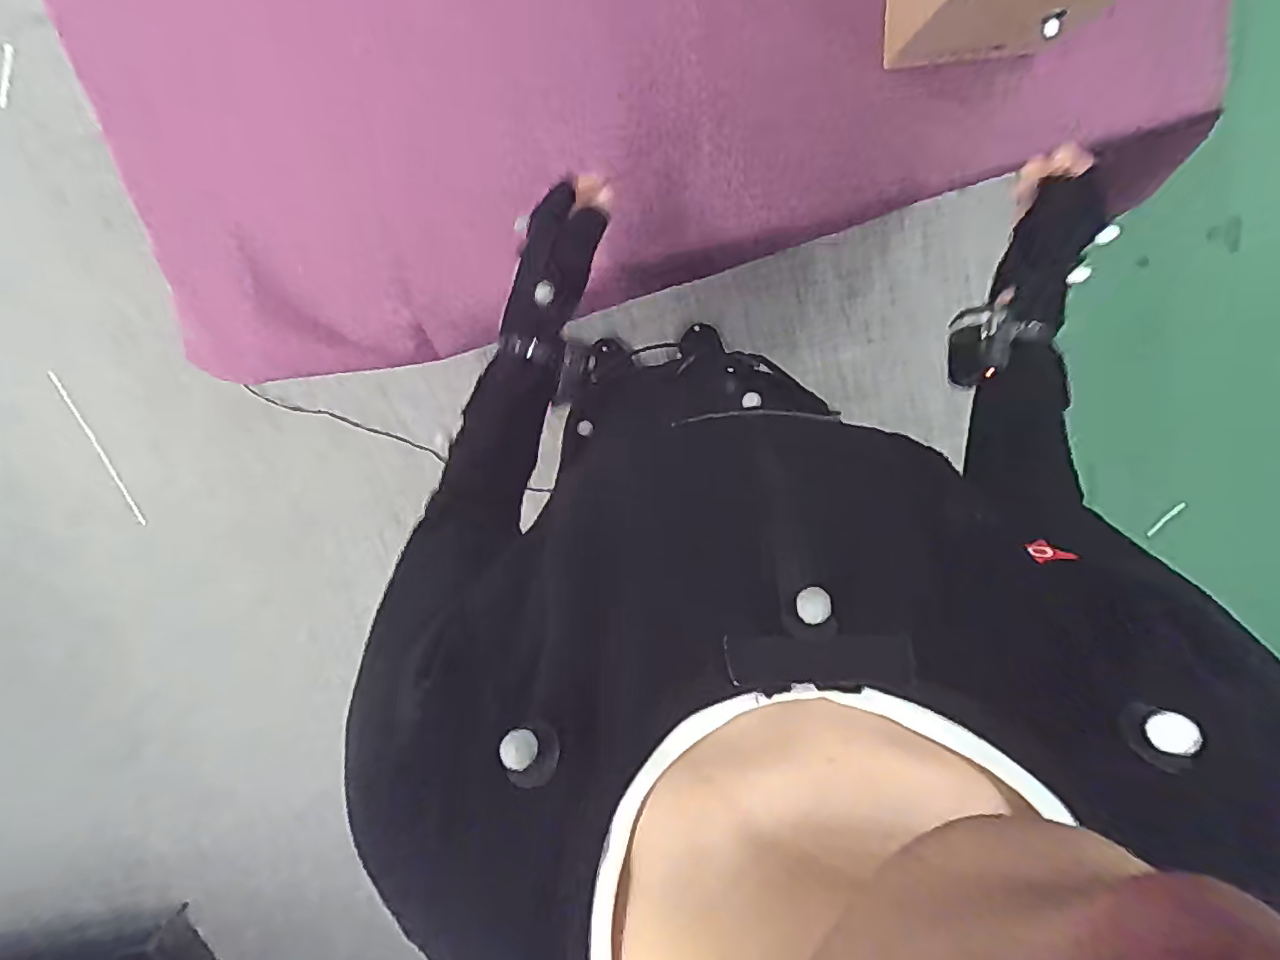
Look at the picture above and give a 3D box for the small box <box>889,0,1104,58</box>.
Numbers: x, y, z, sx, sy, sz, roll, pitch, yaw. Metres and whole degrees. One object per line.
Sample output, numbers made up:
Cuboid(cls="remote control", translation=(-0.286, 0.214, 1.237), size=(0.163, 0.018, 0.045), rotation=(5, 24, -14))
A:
Cuboid(cls="small box", translation=(0.331, -0.500, 0.468), size=(0.168, 0.176, 0.179), rotation=(-3, 108, 4))
